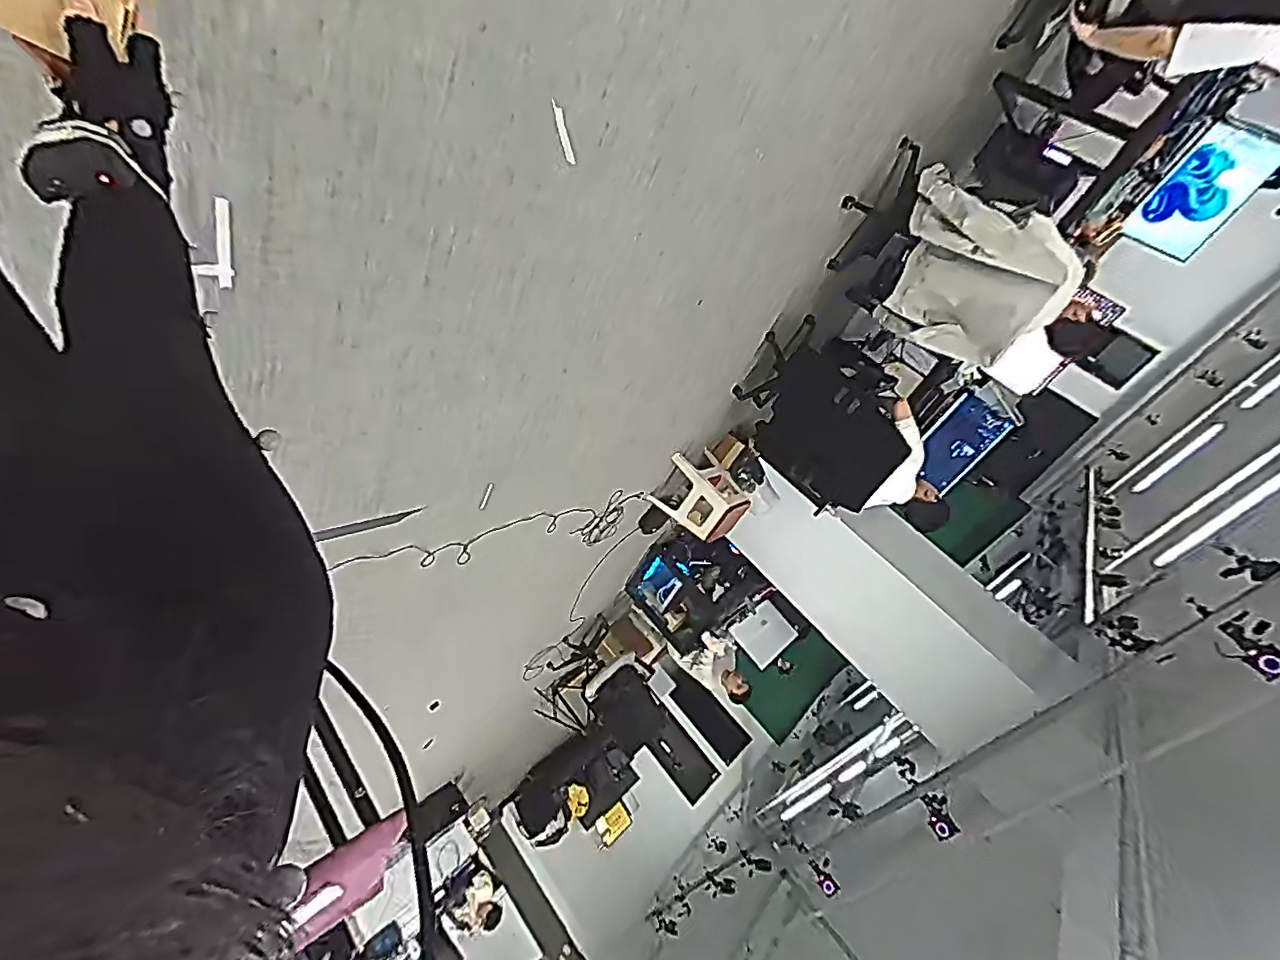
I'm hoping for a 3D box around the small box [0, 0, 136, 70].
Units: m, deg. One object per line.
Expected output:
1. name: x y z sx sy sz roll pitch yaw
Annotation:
1. small box: -0.540 -0.491 0.453 0.179 0.176 0.168 11 115 -44
